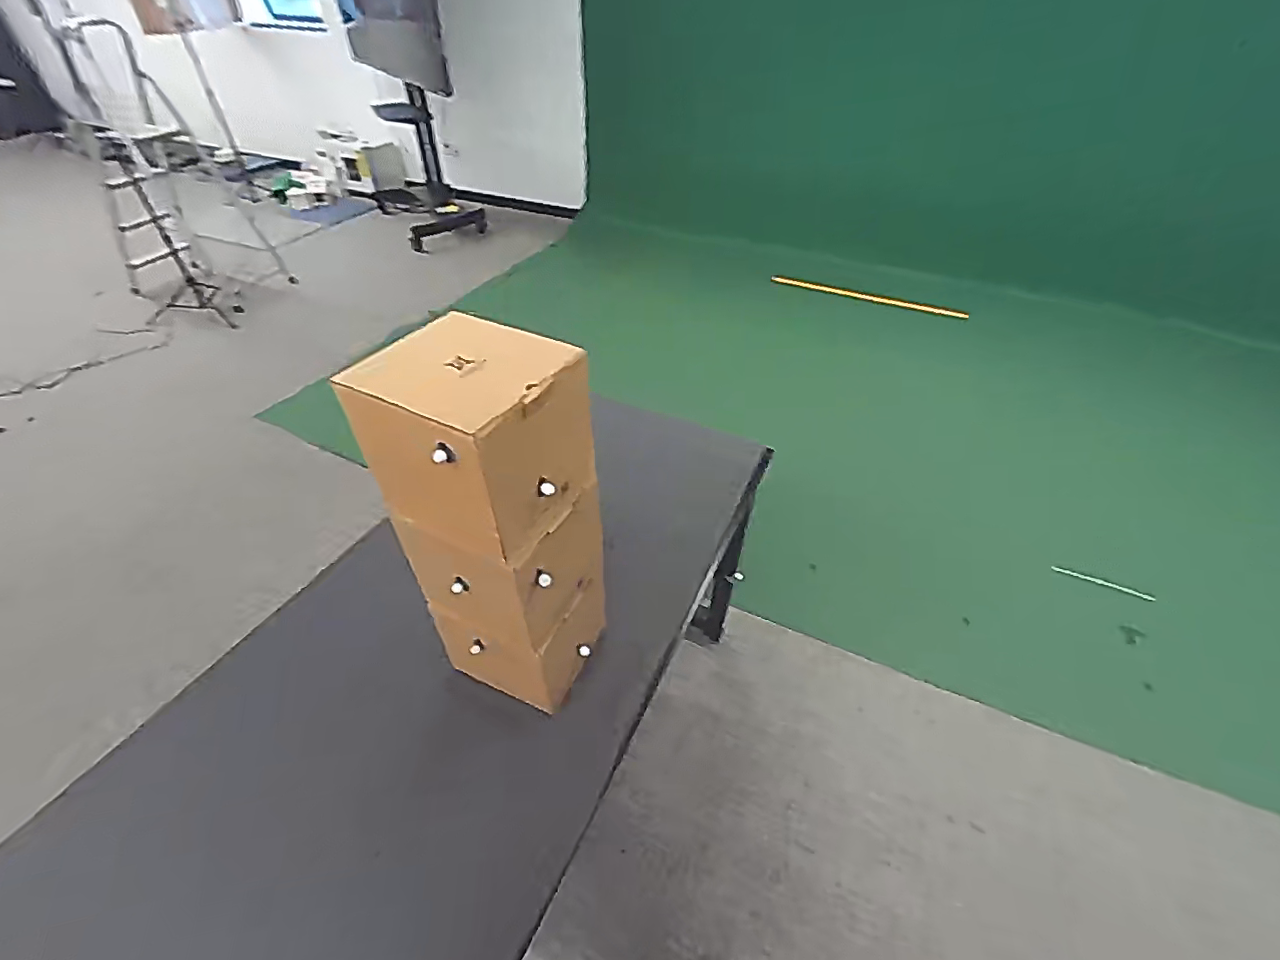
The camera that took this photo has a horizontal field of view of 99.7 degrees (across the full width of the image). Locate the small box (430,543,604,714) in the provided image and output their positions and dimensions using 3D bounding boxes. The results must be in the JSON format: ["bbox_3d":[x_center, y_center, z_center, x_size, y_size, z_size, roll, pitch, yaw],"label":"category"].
[{"bbox_3d":[-0.166,0.208,0.787,0.179,0.176,0.168,18,46,17],"label":"small box"}]

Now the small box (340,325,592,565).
[{"bbox_3d":[-0.167,-0.039,0.573,0.179,0.176,0.168,21,45,20],"label":"small box"}]
